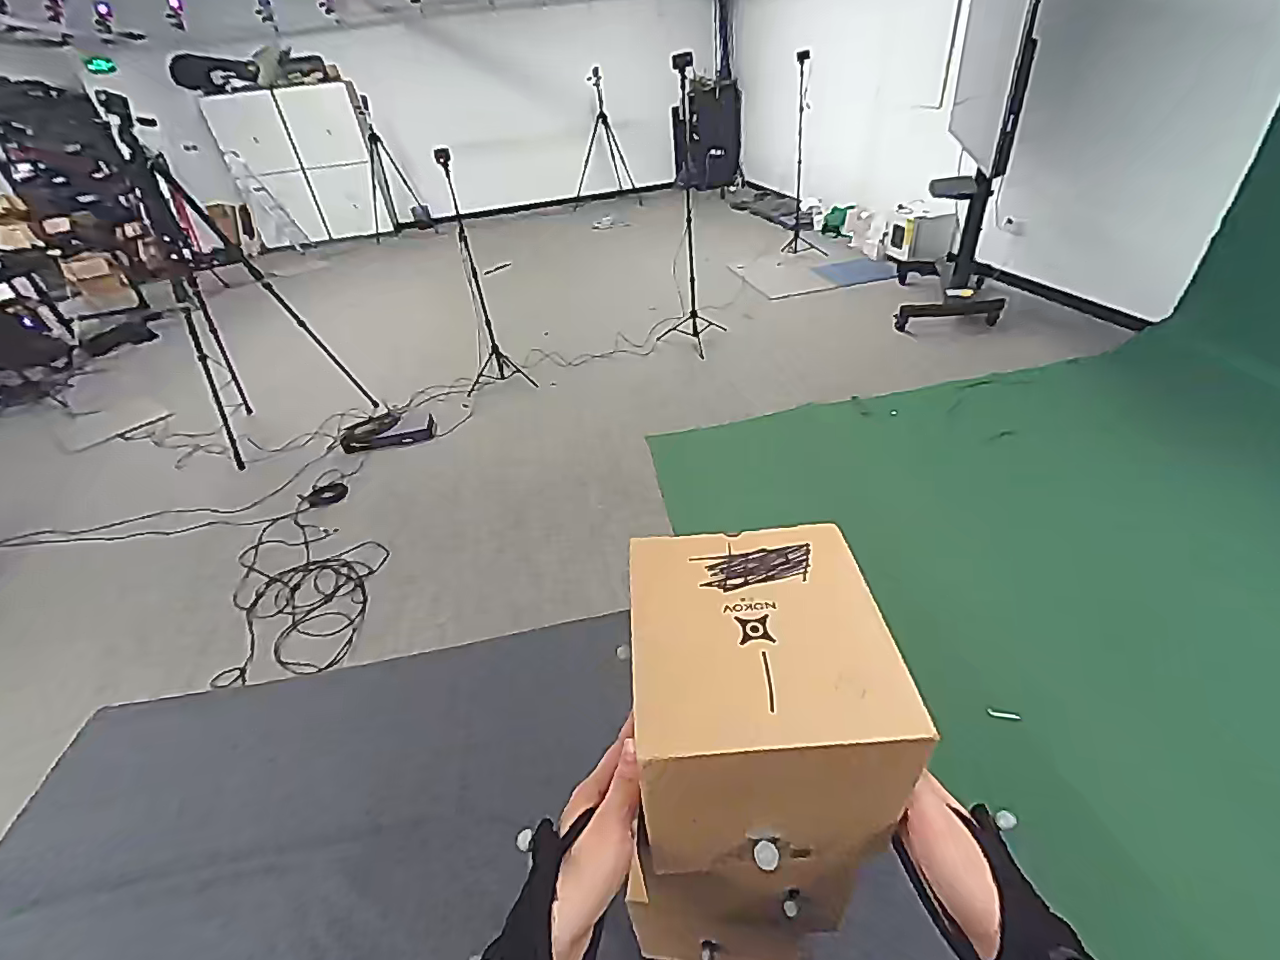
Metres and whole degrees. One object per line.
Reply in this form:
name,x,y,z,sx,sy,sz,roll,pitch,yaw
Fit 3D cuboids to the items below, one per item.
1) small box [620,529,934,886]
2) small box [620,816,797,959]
small box,0.075,0.159,0.393,0.168,0.176,0.179,-5,37,2
small box,0.082,0.416,0.601,0.168,0.176,0.179,0,35,11
